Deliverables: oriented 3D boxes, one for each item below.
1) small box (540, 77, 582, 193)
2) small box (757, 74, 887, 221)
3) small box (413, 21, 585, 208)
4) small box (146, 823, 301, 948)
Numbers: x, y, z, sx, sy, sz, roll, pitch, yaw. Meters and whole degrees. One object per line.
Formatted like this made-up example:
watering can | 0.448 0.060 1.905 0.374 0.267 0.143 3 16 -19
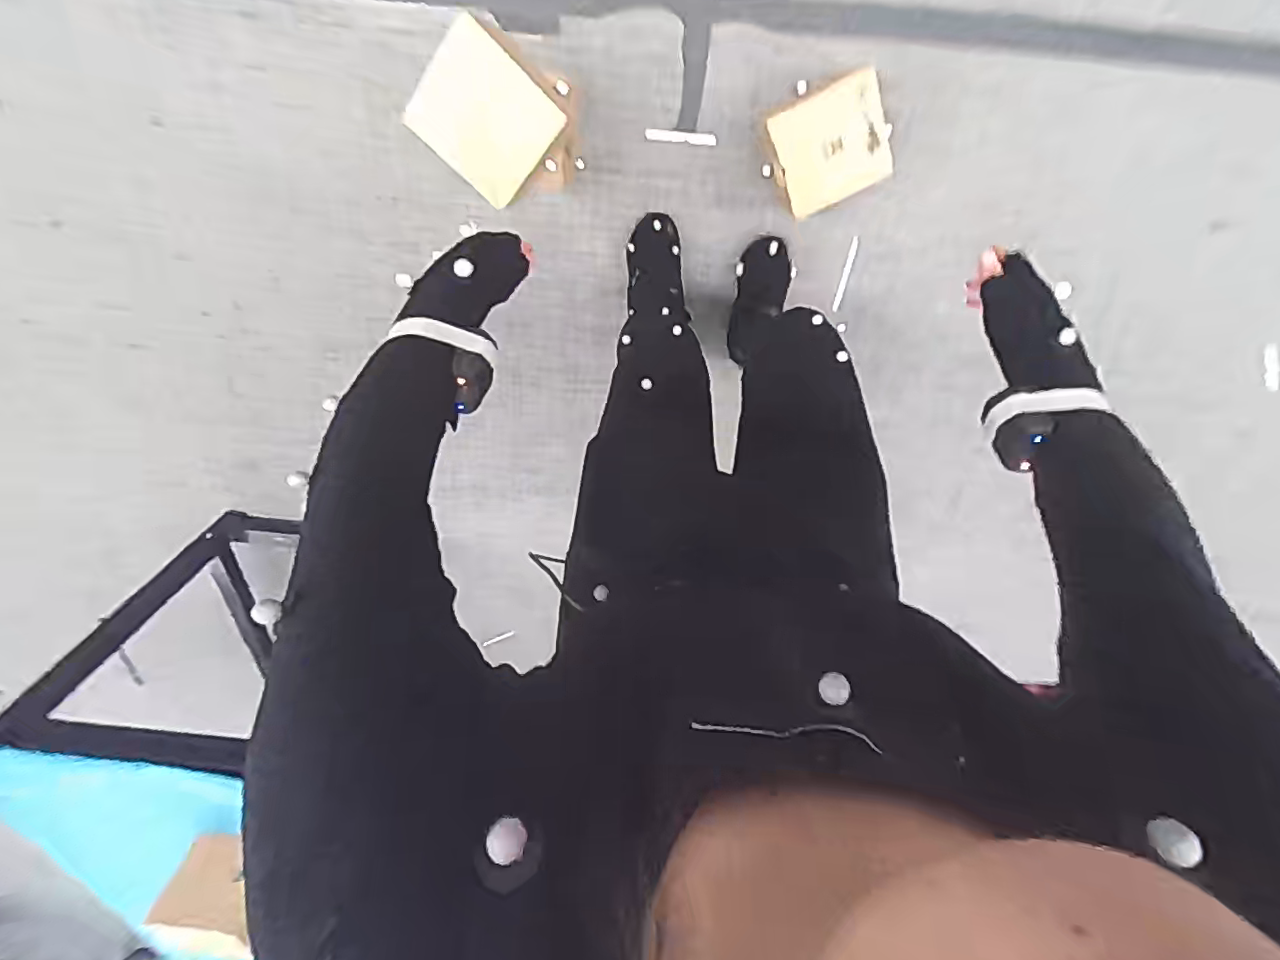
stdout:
small box | -0.205 -0.637 0.983 0.179 0.176 0.168 9 123 -1
small box | 0.320 -0.598 0.979 0.179 0.176 0.168 -19 122 16
small box | -0.212 -0.553 0.837 0.179 0.176 0.168 39 117 -20
small box | -0.881 0.873 1.160 0.179 0.176 0.168 6 124 0
